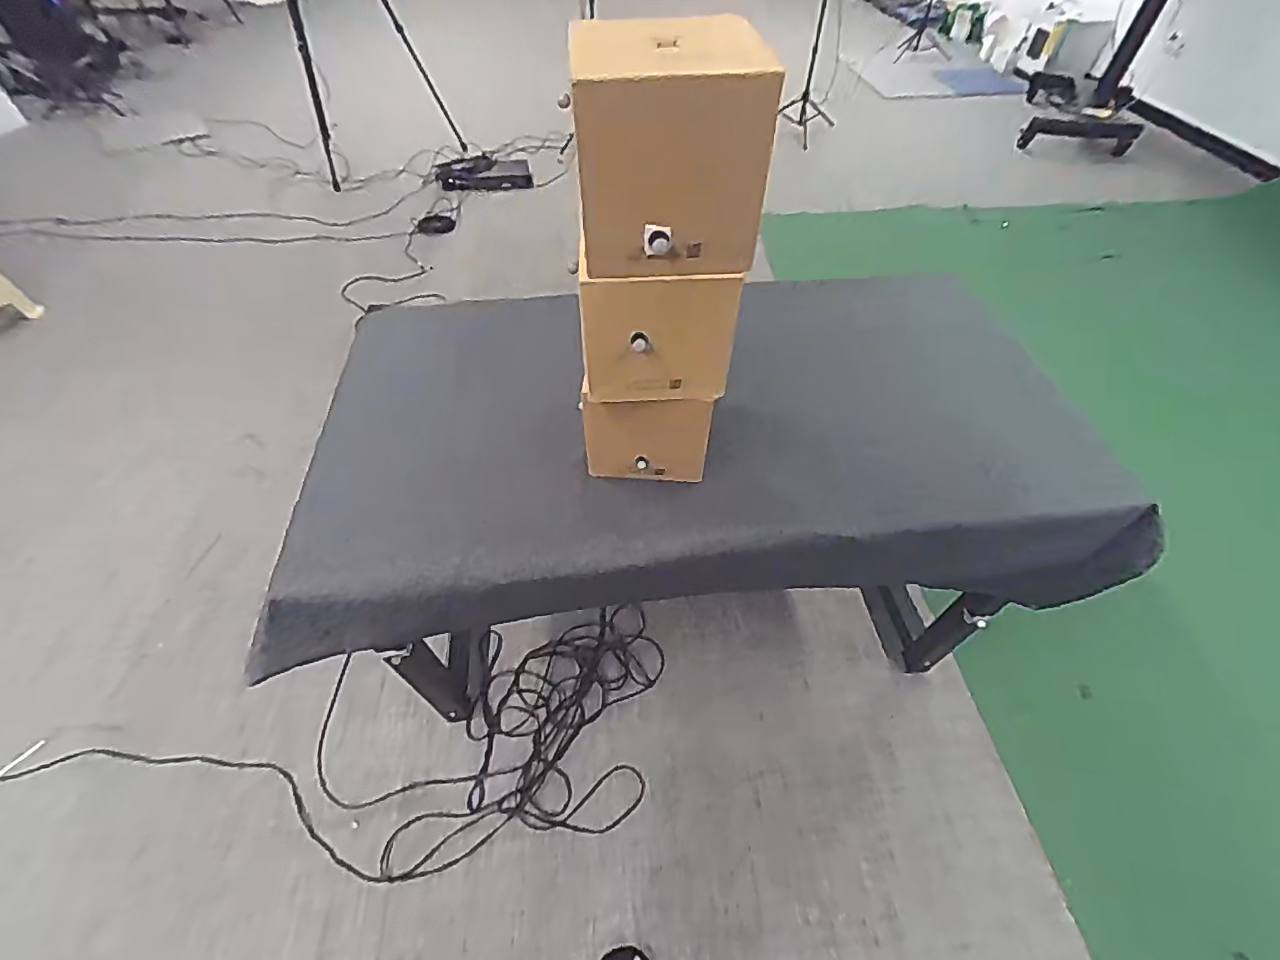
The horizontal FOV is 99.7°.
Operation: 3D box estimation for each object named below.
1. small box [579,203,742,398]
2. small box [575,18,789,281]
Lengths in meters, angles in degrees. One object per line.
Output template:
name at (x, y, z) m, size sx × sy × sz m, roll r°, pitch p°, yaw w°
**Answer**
small box at (0.018, -0.211, 0.646) m, size 0.168 × 0.176 × 0.179 m, roll -3°, pitch 52°, yaw -2°
small box at (0.026, -0.315, 0.520) m, size 0.168 × 0.176 × 0.179 m, roll -5°, pitch 52°, yaw -3°
